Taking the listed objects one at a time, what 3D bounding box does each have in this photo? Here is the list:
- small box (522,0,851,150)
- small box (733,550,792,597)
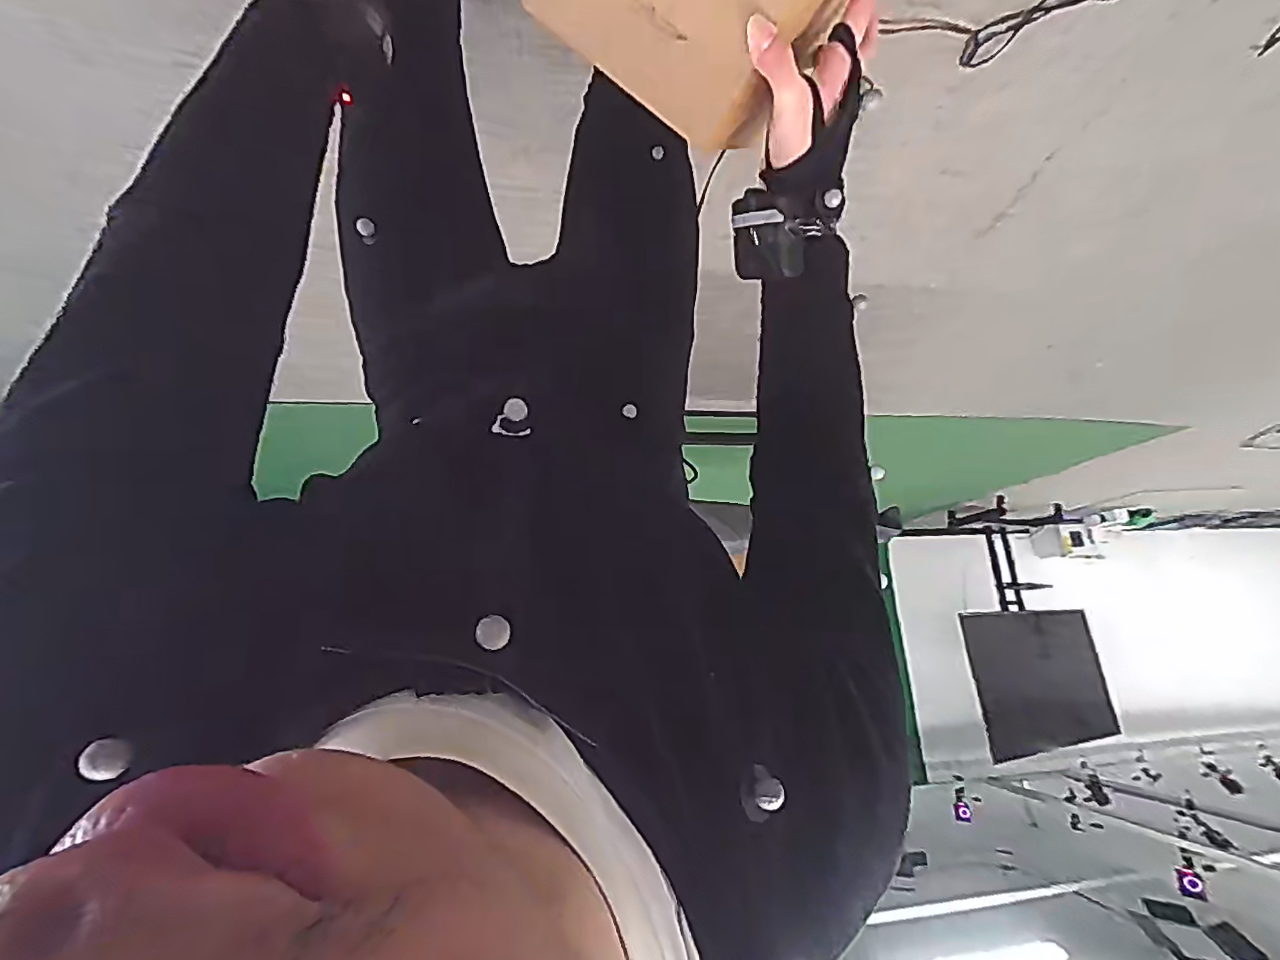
[{"bbox_3d":[0.050,-0.363,0.374,0.179,0.168,0.176,-49,180,38],"label":"small box"},{"bbox_3d":[0.490,0.378,2.197,0.168,0.176,0.179,0,163,-14],"label":"small box"}]
